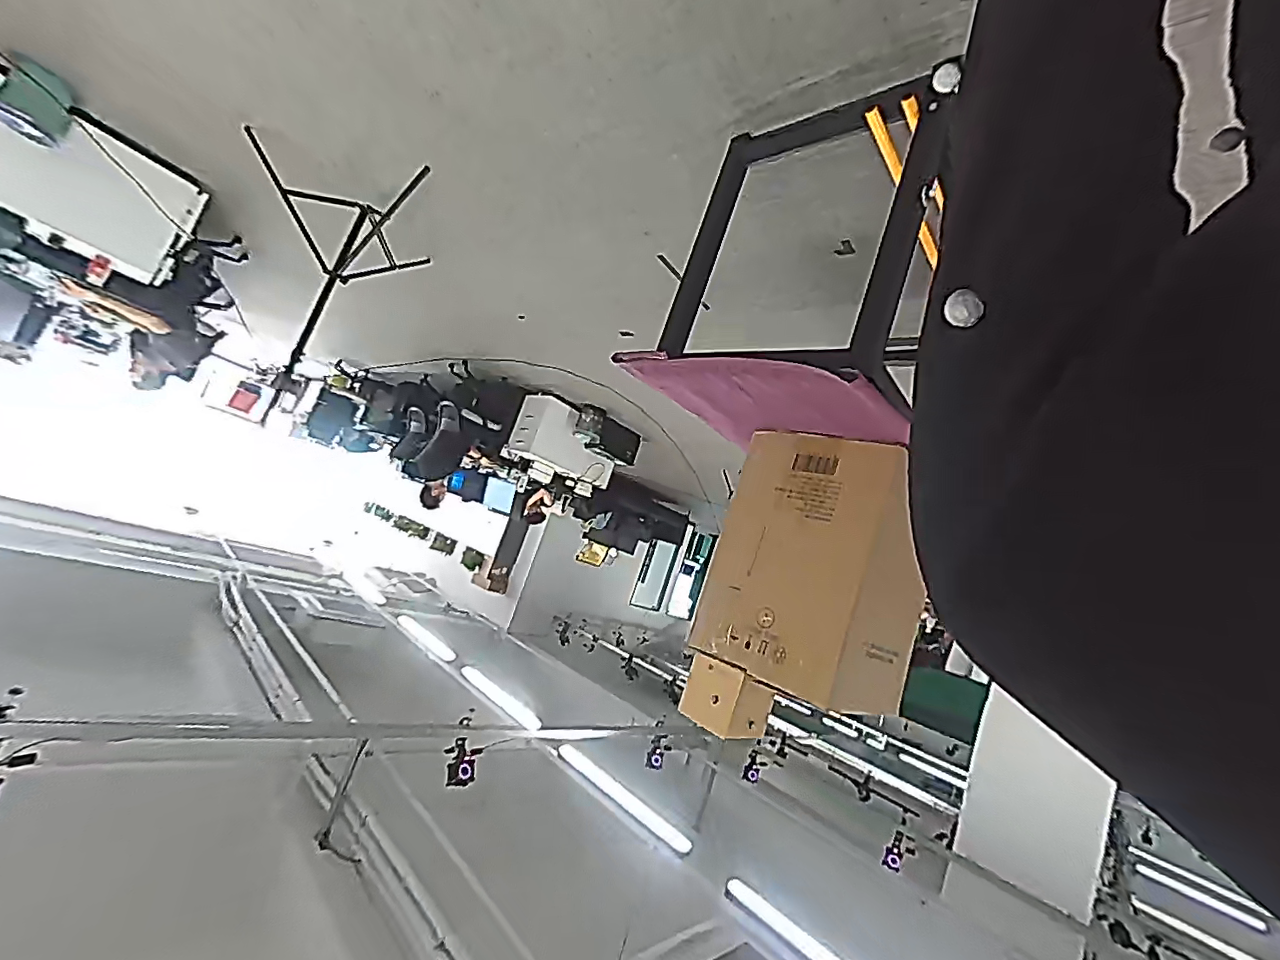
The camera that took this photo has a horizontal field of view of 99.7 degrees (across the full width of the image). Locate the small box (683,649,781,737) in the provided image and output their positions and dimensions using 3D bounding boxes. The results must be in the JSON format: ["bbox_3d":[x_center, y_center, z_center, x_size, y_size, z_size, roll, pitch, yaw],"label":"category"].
[{"bbox_3d":[0.245,0.556,1.428,0.179,0.176,0.168,24,171,-41],"label":"small box"}]
